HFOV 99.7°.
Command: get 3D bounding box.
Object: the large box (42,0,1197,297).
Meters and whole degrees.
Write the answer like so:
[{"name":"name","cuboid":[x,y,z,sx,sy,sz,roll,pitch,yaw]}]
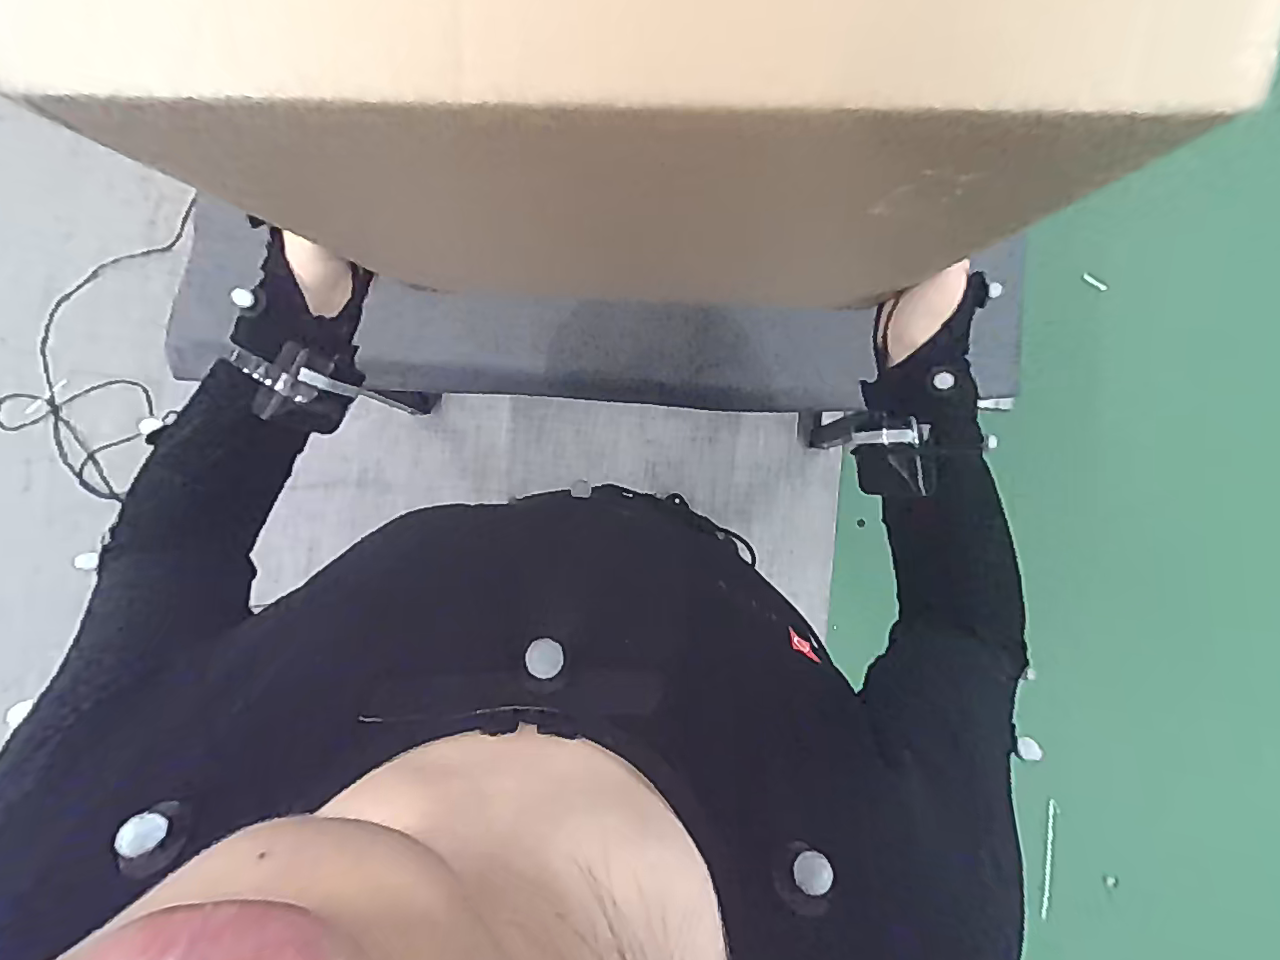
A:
[{"name":"large box","cuboid":[-0.006,-0.299,0.320,0.408,0.320,0.320,2,98,2]}]
